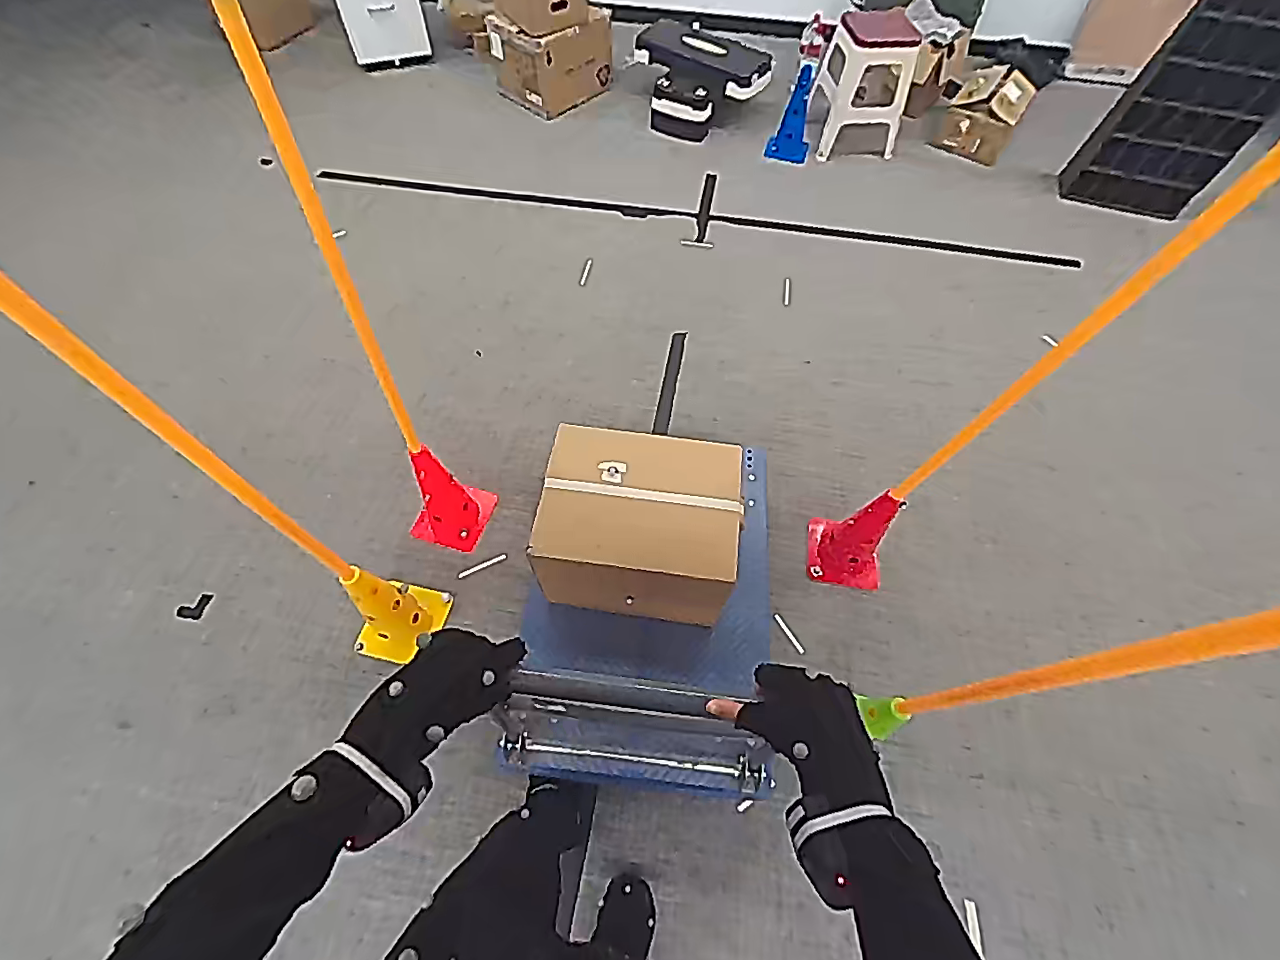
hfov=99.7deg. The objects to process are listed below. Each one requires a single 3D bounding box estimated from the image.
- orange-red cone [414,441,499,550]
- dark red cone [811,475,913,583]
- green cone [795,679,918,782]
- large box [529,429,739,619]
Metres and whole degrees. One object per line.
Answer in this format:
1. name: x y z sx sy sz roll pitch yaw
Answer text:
1. orange-red cone: -0.533 0.010 1.453 0.198 0.360 0.199 16 59 7
2. dark red cone: 0.596 0.106 1.402 0.201 0.394 0.202 10 60 2
3. green cone: 0.492 0.521 1.173 0.202 0.368 0.200 13 60 5
4. large box: 0.002 0.111 1.237 0.408 0.320 0.320 7 60 4
